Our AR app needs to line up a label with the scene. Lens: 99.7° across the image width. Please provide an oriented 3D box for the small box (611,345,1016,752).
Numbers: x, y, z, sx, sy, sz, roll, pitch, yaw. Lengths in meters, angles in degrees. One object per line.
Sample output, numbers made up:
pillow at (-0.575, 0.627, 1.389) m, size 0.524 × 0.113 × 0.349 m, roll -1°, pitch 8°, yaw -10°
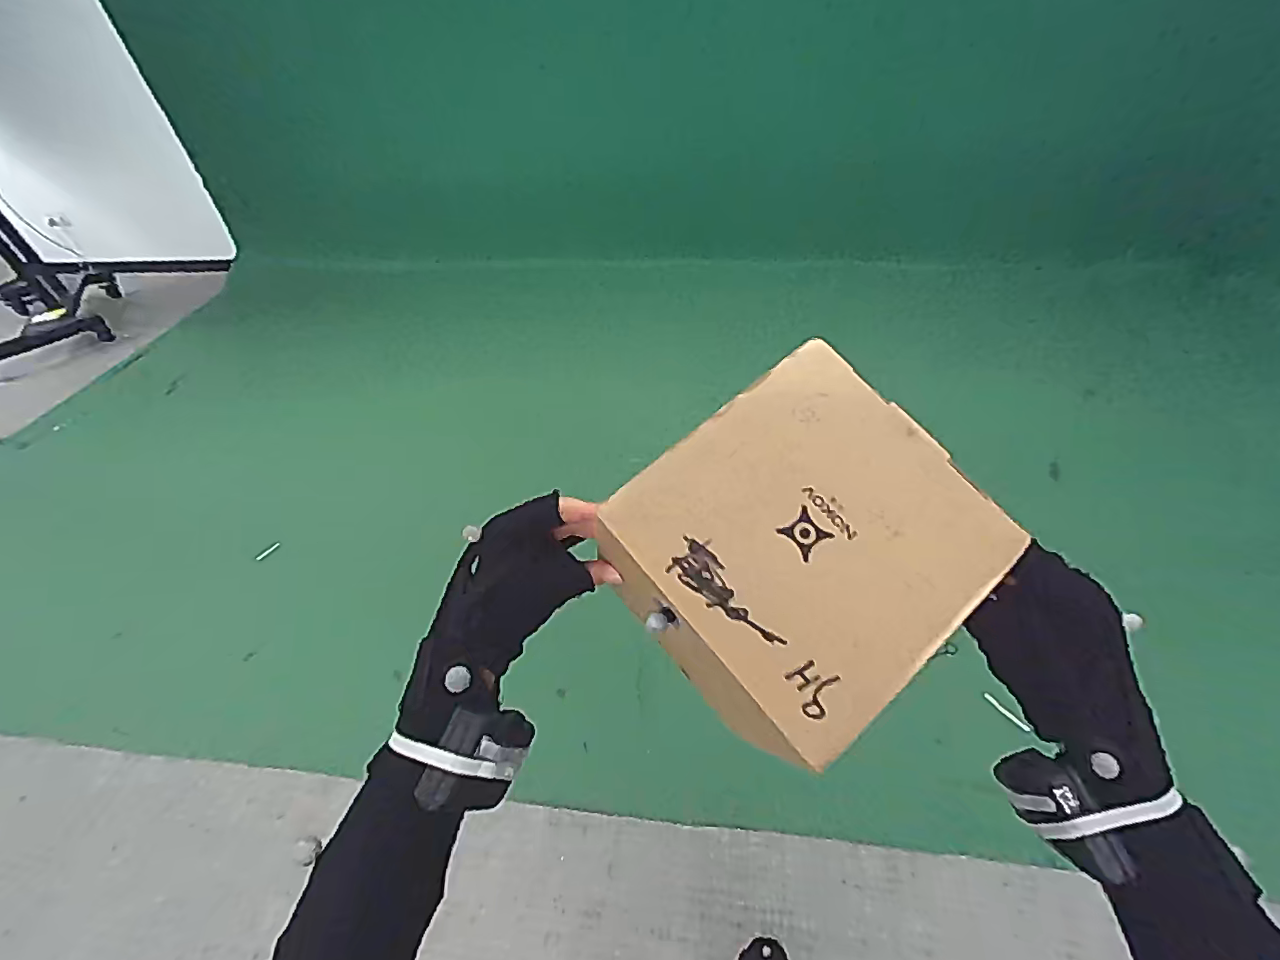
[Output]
small box at (0.092, 0.049, 0.375) m, size 0.179 × 0.176 × 0.168 m, roll -38°, pitch 77°, yaw -16°
